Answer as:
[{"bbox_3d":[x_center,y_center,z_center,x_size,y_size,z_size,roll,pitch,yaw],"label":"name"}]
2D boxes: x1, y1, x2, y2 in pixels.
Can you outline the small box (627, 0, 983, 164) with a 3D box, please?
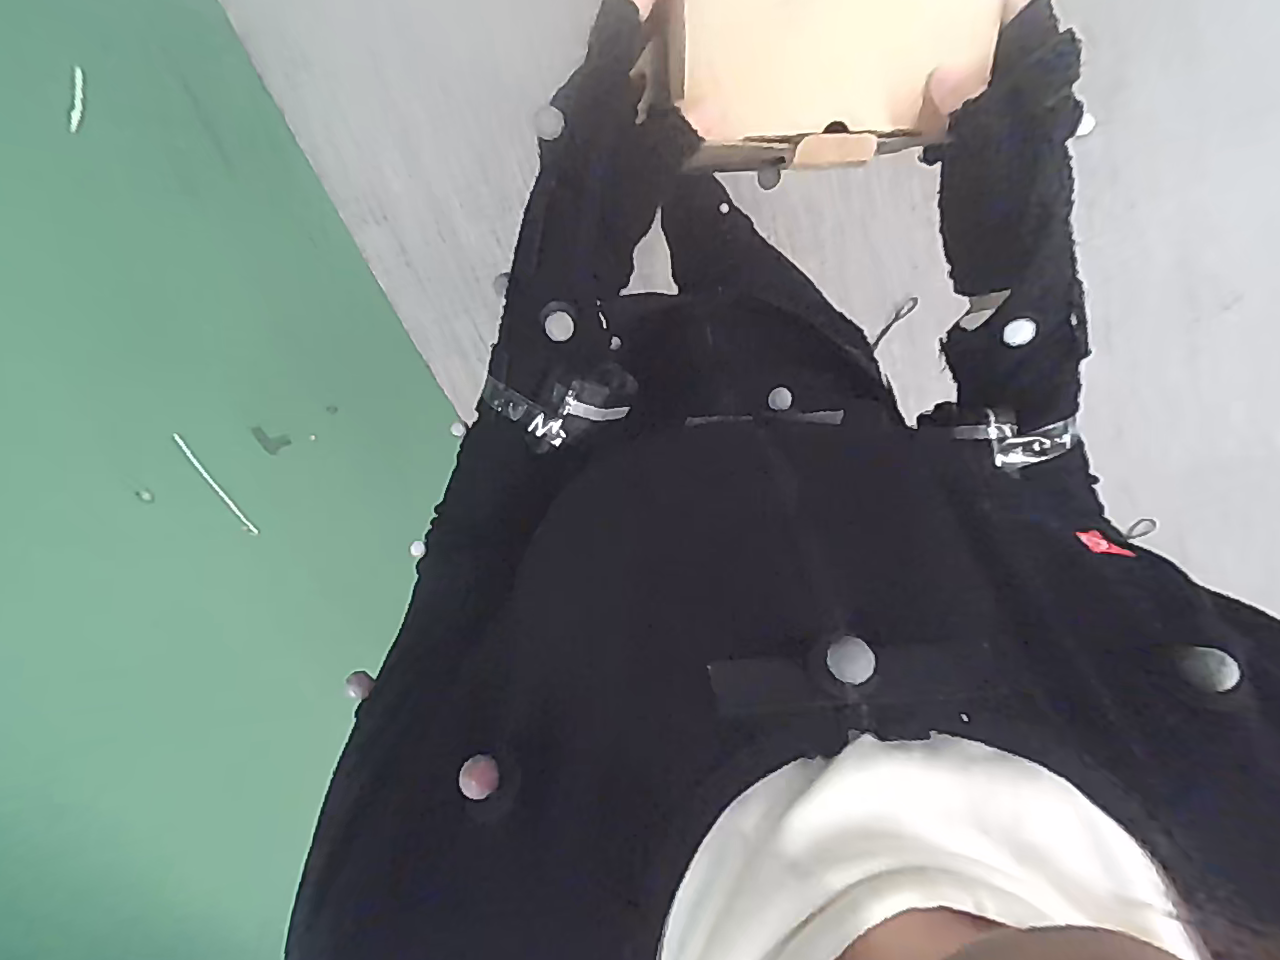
[{"bbox_3d":[0.084,-0.299,0.330,0.168,0.176,0.179,-7,116,-6],"label":"small box"}]
